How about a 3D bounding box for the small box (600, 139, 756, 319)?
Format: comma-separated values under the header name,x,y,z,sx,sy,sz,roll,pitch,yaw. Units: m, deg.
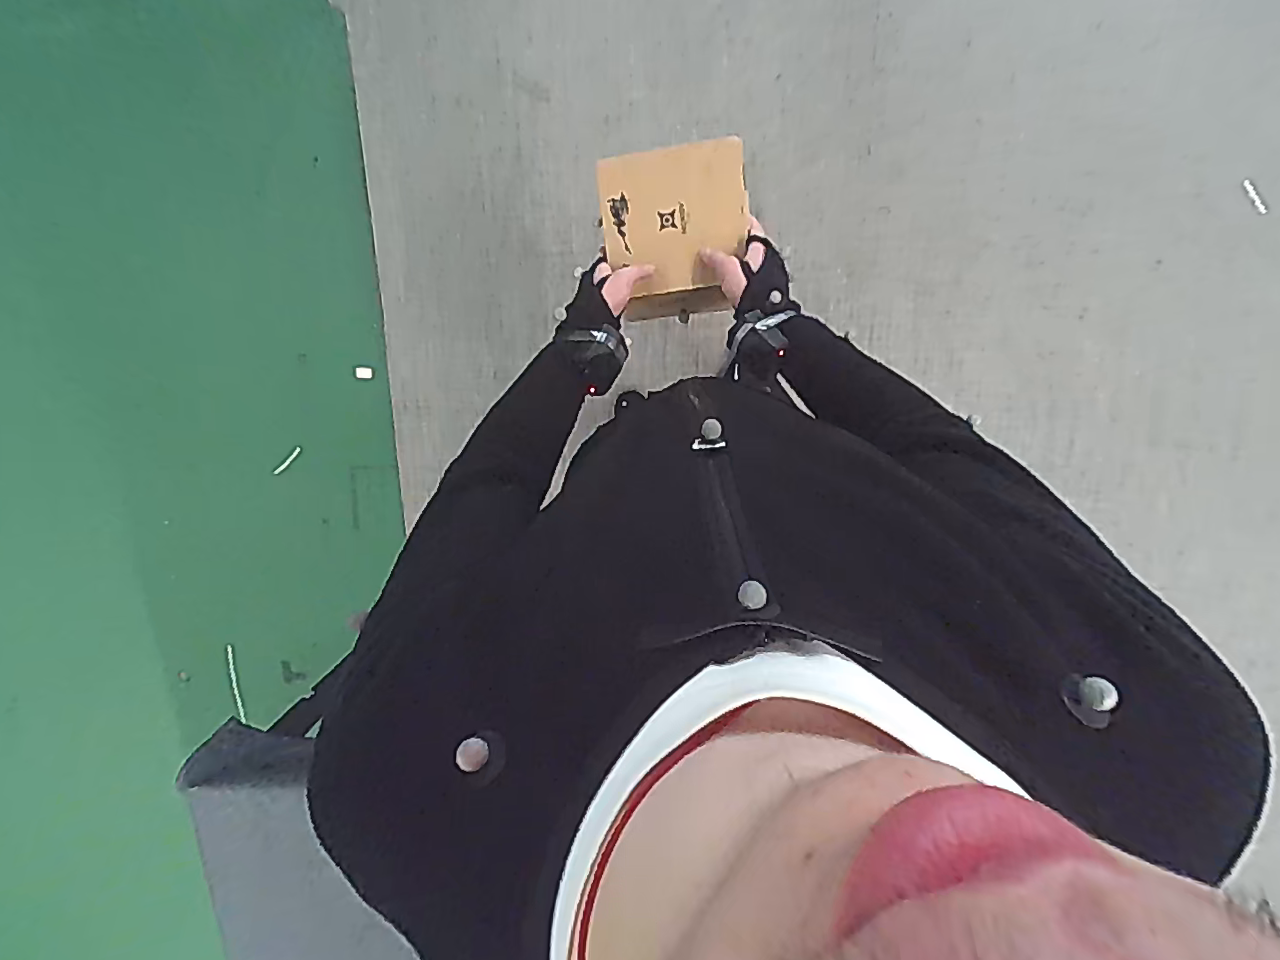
name,x,y,z,sx,sy,sz,roll,pitch,yaw
small box,0.051,-0.320,0.724,0.179,0.176,0.168,-6,97,5
